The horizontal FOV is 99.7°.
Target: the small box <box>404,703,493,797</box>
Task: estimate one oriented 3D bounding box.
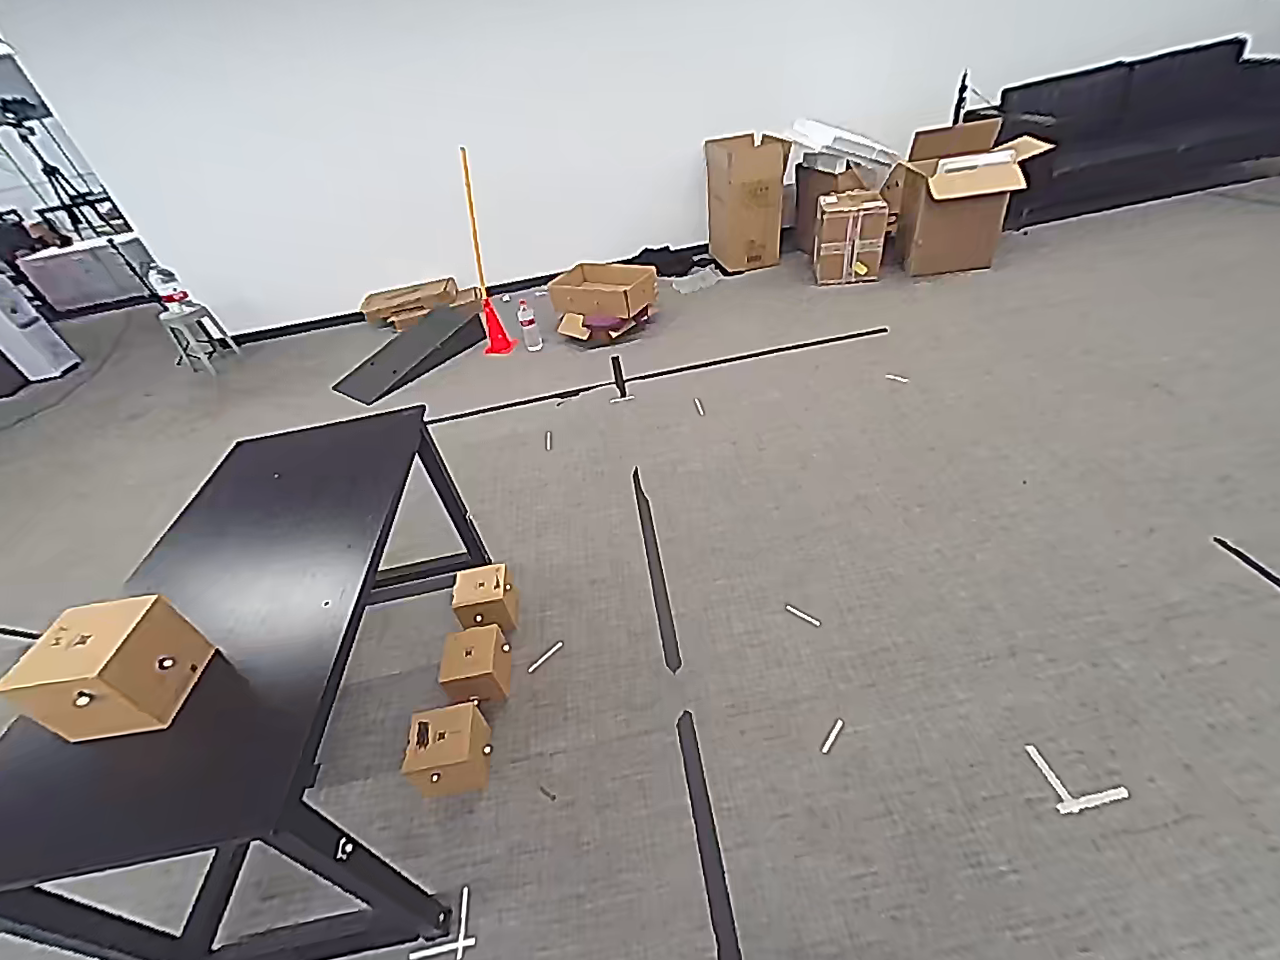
[{"bbox_3d":[-0.529,0.758,1.513,0.179,0.176,0.168,-11,39,-2],"label":"small box"}]

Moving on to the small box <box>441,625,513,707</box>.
[{"bbox_3d":[-0.509,0.594,1.711,0.168,0.176,0.179,-13,39,0],"label":"small box"}]

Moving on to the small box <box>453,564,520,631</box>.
[{"bbox_3d":[-0.540,0.430,1.915,0.179,0.176,0.168,-12,40,-1],"label":"small box"}]

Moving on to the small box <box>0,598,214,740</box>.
[{"bbox_3d":[-0.920,0.336,0.959,0.179,0.176,0.168,-10,38,2],"label":"small box"}]
